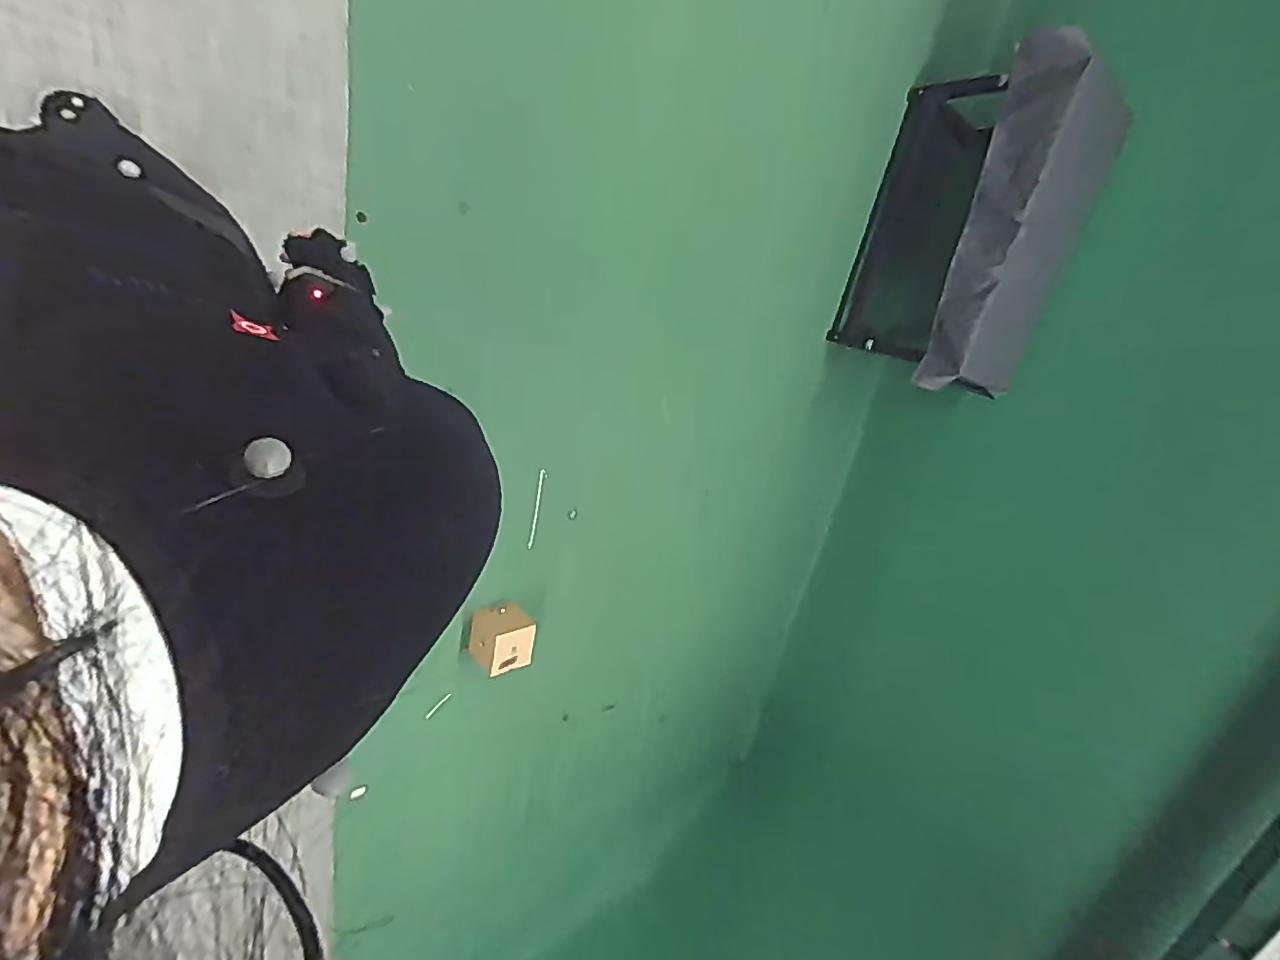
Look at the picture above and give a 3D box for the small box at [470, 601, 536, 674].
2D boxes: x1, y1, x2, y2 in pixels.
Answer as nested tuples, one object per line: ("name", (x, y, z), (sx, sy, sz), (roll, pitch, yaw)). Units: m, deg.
("small box", (-0.510, 0.574, 1.991), (0.168, 0.176, 0.179), (-6, 116, -44))
